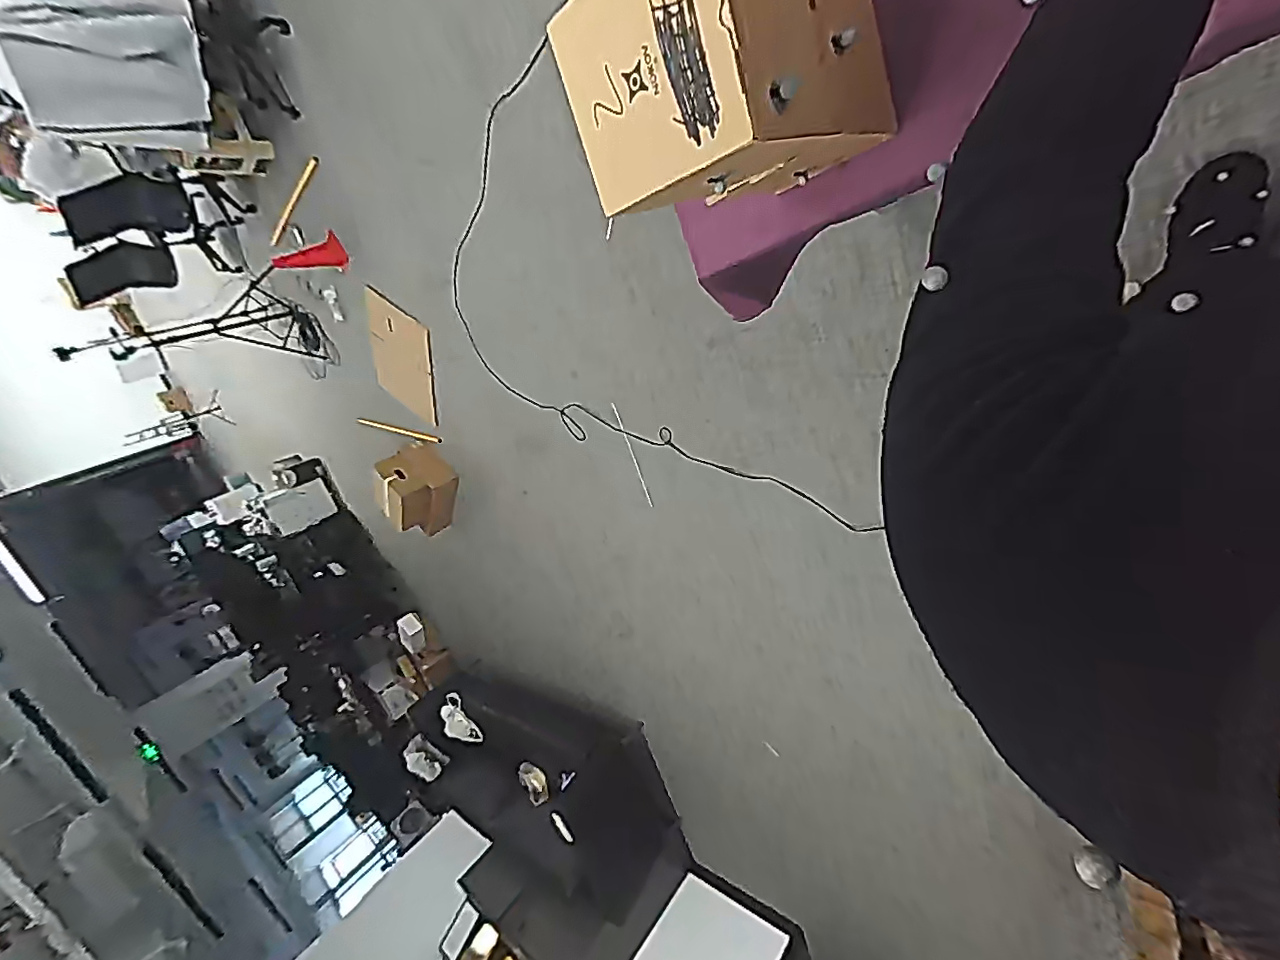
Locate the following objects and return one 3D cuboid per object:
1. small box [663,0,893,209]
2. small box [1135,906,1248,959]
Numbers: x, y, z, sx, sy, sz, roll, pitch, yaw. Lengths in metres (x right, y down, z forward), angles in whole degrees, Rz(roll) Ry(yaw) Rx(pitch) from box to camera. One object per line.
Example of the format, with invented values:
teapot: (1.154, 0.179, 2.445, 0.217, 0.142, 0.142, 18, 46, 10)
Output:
small box: (0.160, -0.432, 0.606, 0.168, 0.176, 0.179, -5, 112, 46)
small box: (1.252, 1.125, 1.228, 0.179, 0.176, 0.168, -2, 116, 45)
